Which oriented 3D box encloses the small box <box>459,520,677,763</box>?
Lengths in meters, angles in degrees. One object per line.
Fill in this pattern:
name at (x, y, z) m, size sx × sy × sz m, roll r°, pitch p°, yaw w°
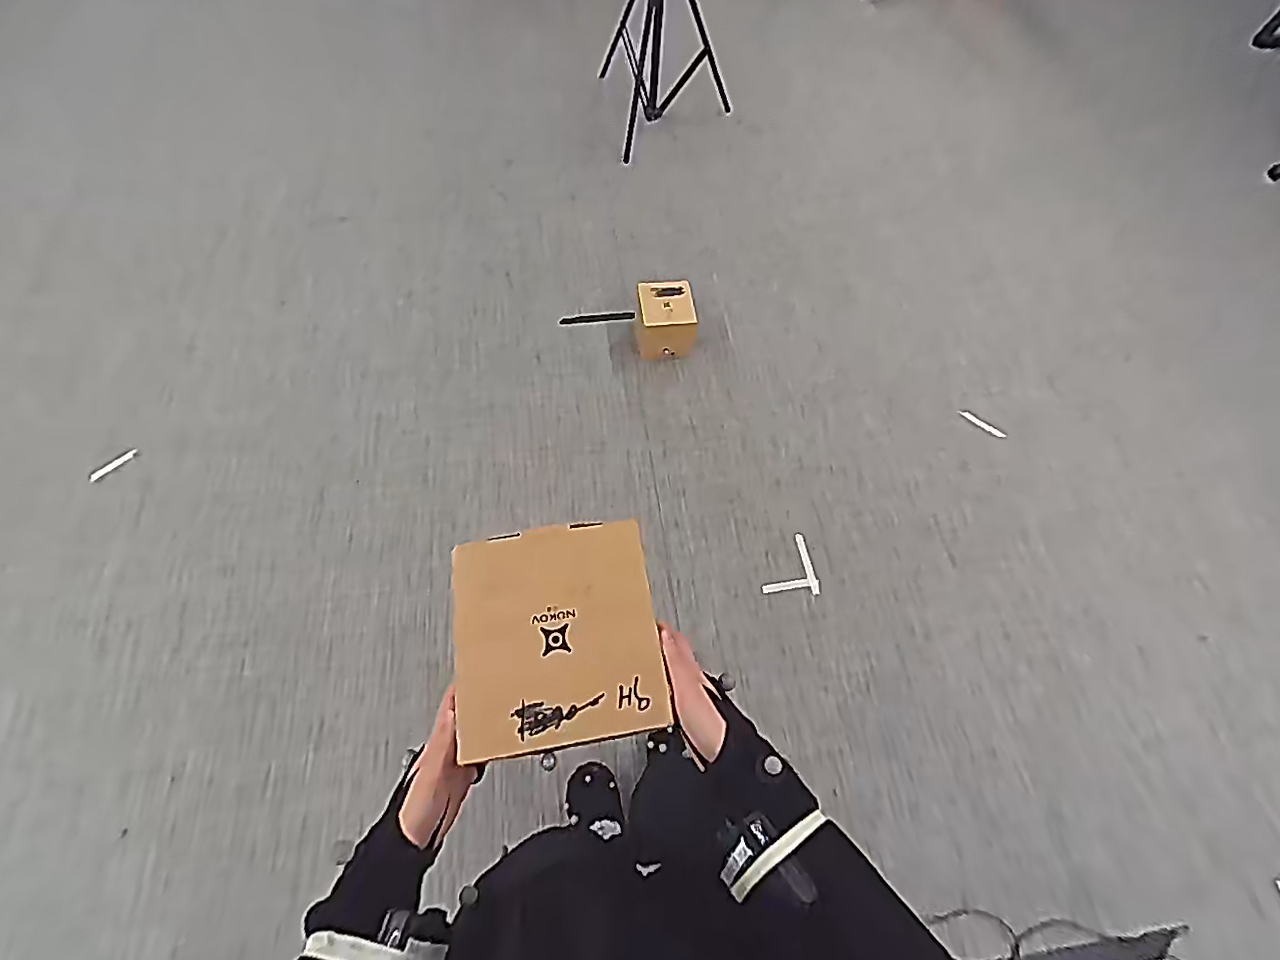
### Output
small box at (-0.067, 0.158, 0.512) m, size 0.168 × 0.176 × 0.179 m, roll -8°, pitch 65°, yaw -5°
